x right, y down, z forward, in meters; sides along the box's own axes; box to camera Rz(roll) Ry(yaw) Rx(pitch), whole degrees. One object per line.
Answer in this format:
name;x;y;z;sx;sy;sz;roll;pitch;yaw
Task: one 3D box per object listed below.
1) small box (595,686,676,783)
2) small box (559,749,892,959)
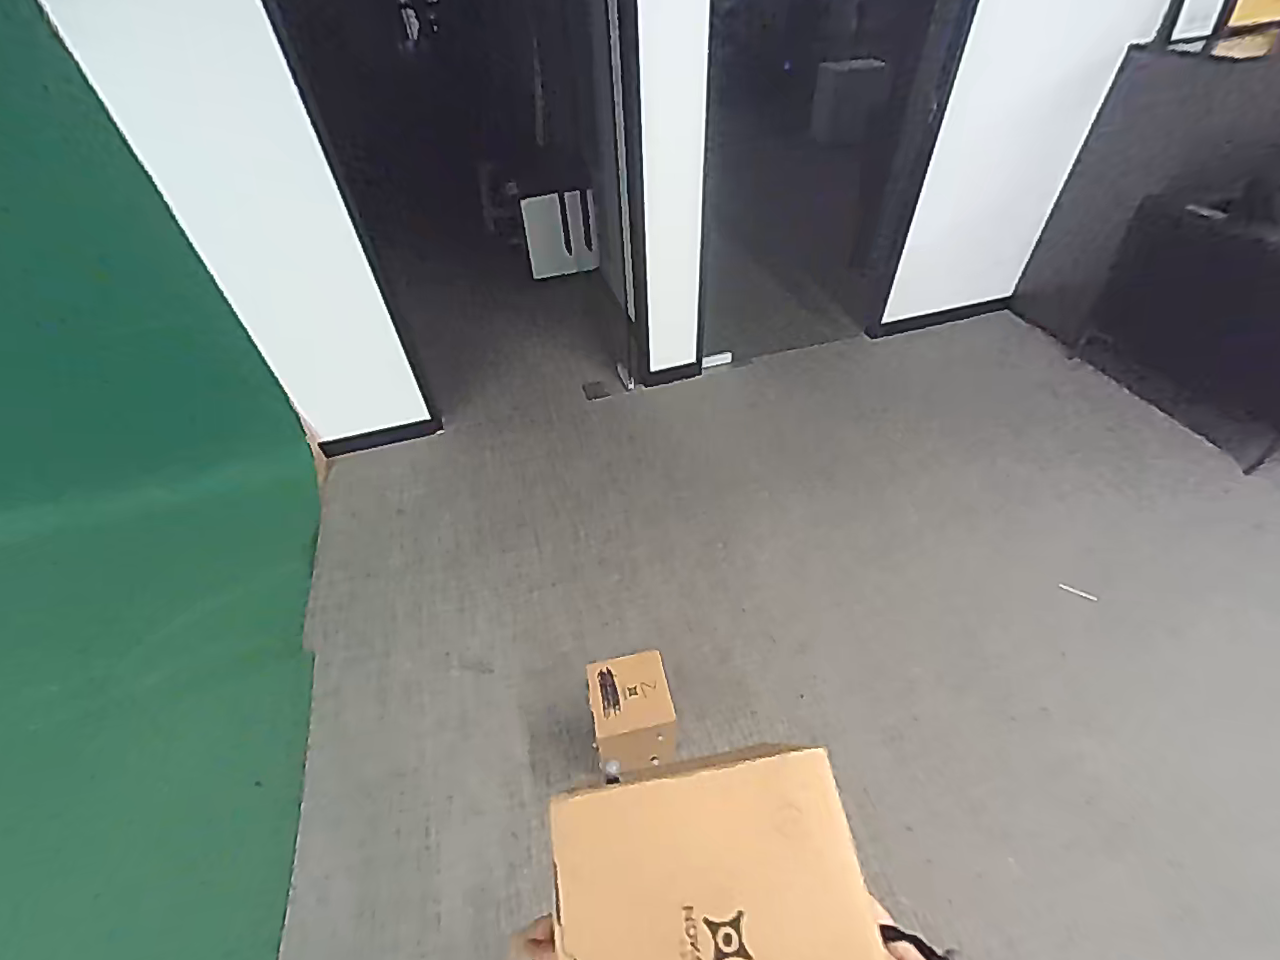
small box;-0.012;0.645;1.359;0.179;0.176;0.168;-10;46;-6
small box;0.052;0.291;0.370;0.179;0.176;0.168;-11;65;-2
